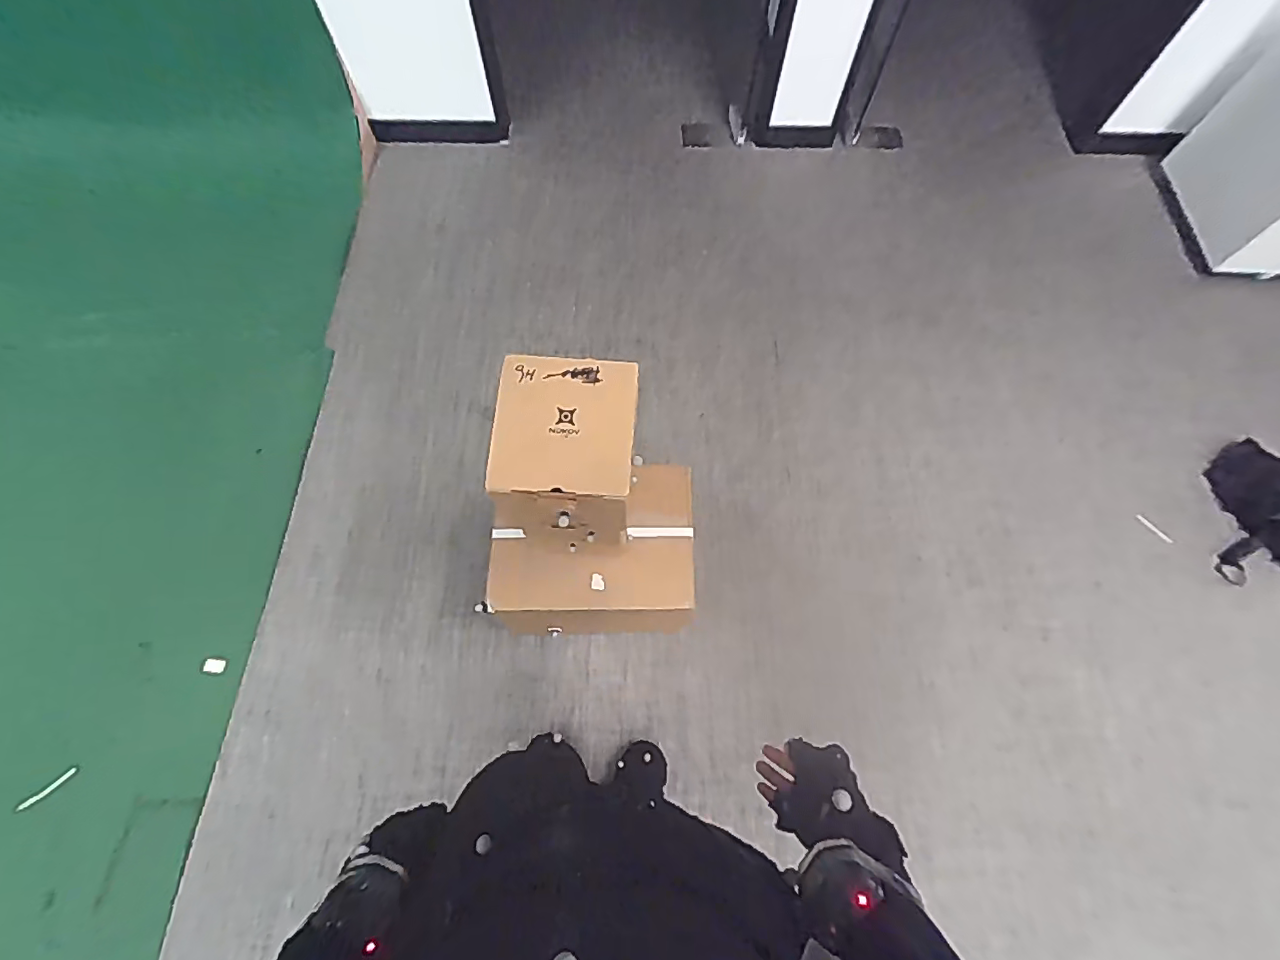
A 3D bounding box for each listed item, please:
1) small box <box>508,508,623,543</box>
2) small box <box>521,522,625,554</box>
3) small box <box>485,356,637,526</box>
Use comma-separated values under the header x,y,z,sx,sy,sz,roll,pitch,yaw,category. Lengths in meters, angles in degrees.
x,y,z,sx,sy,sz,roll,pitch,yaw,category
-0.103,-0.003,0.875,0.168,0.176,0.179,7,71,0,small box
-0.112,0.040,1.028,0.179,0.176,0.168,6,71,1,small box
-0.092,-0.041,0.716,0.168,0.176,0.179,4,73,-1,small box
